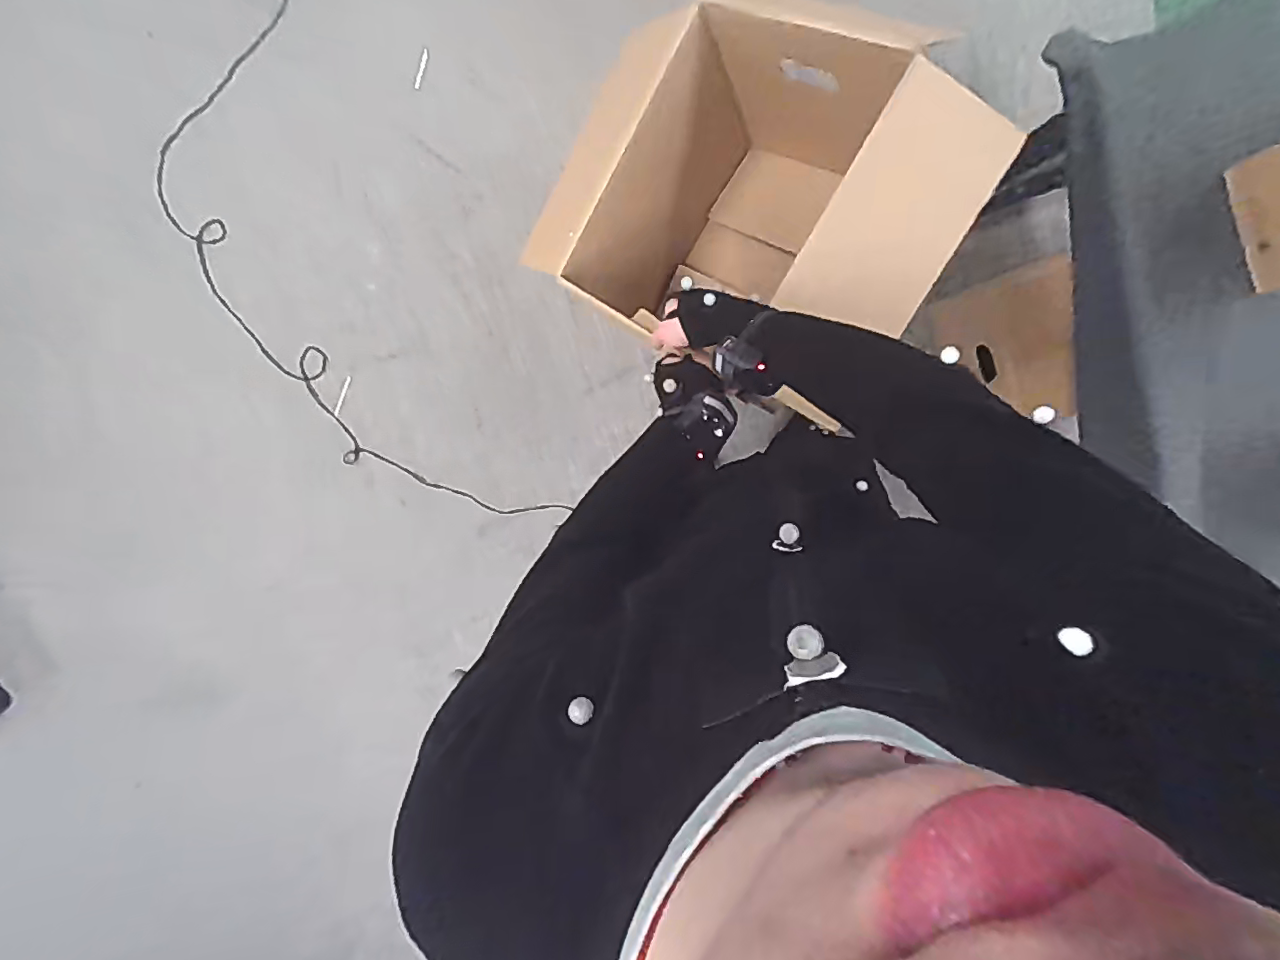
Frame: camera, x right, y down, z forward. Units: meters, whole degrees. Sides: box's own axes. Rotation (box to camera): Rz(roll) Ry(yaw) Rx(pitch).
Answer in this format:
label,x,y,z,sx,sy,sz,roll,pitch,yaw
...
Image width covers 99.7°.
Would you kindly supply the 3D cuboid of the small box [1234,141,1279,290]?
label,x,y,z,sx,sy,sz,roll,pitch,yaw
small box,0.821,-0.326,0.591,0.179,0.176,0.168,-25,101,7
